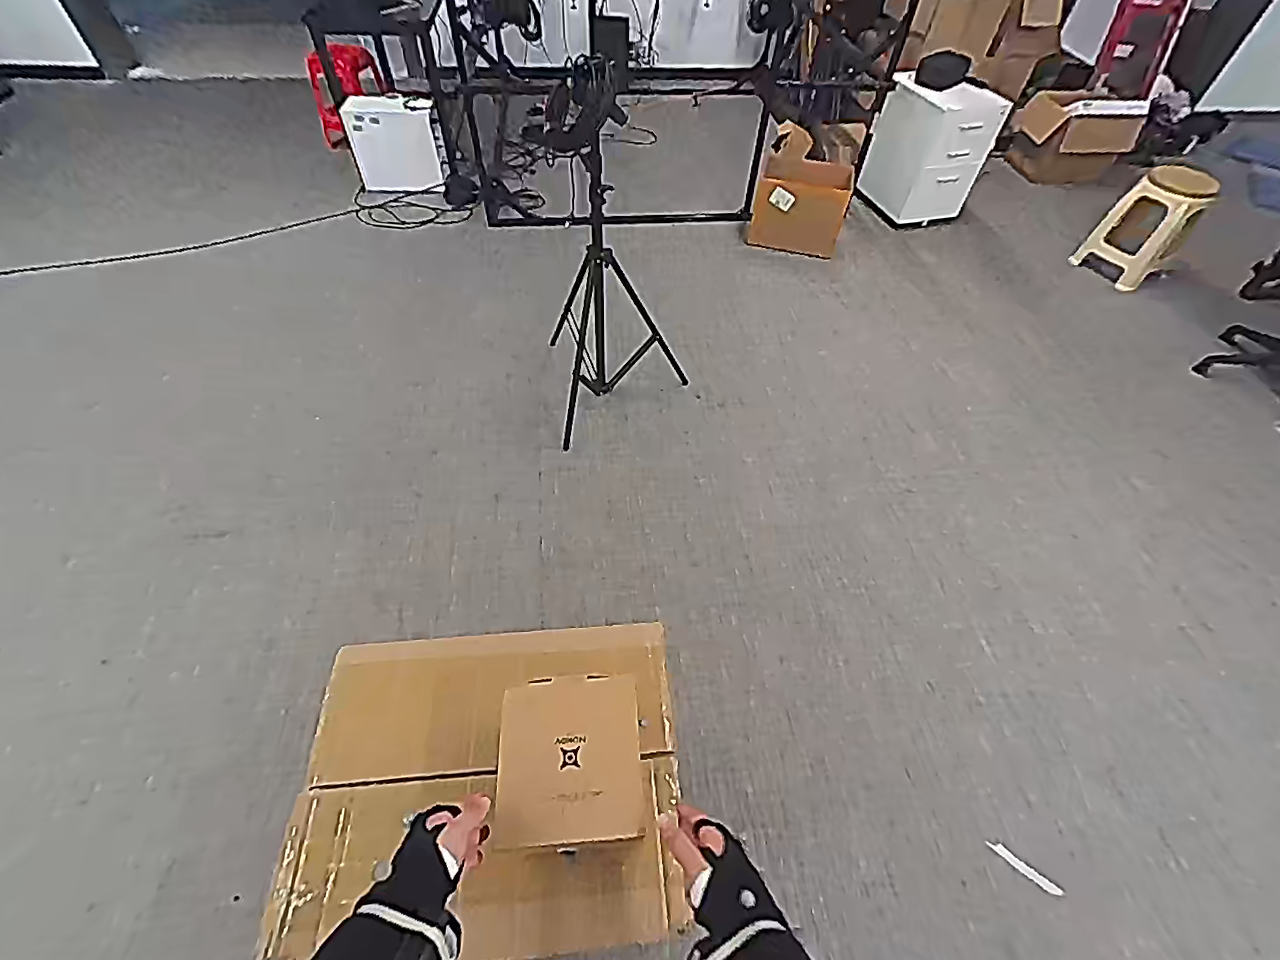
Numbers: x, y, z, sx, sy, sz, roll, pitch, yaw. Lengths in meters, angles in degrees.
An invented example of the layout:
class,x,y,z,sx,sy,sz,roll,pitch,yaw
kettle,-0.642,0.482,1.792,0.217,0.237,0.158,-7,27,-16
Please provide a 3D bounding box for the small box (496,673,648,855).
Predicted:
class,x,y,z,sx,sy,sz,roll,pitch,yaw
small box,-0.081,0.367,0.695,0.168,0.176,0.179,-4,54,-3
